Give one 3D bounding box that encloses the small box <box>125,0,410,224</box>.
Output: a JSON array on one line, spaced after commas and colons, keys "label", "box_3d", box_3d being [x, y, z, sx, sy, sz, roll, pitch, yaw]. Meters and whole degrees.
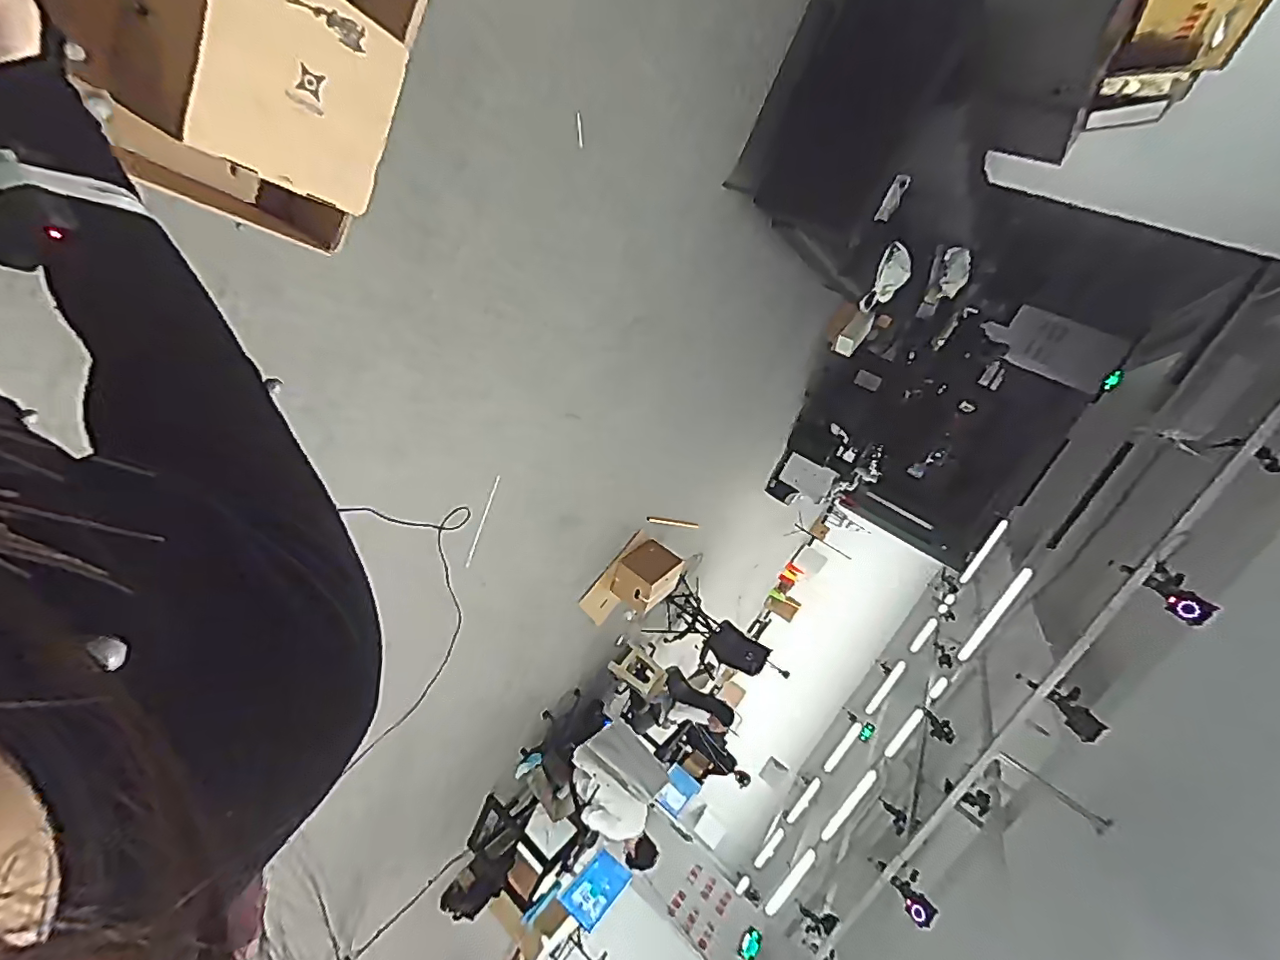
[{"label": "small box", "box_3d": [-0.374, -0.399, 0.544, 0.168, 0.176, 0.179, -3, 123, -61]}]
